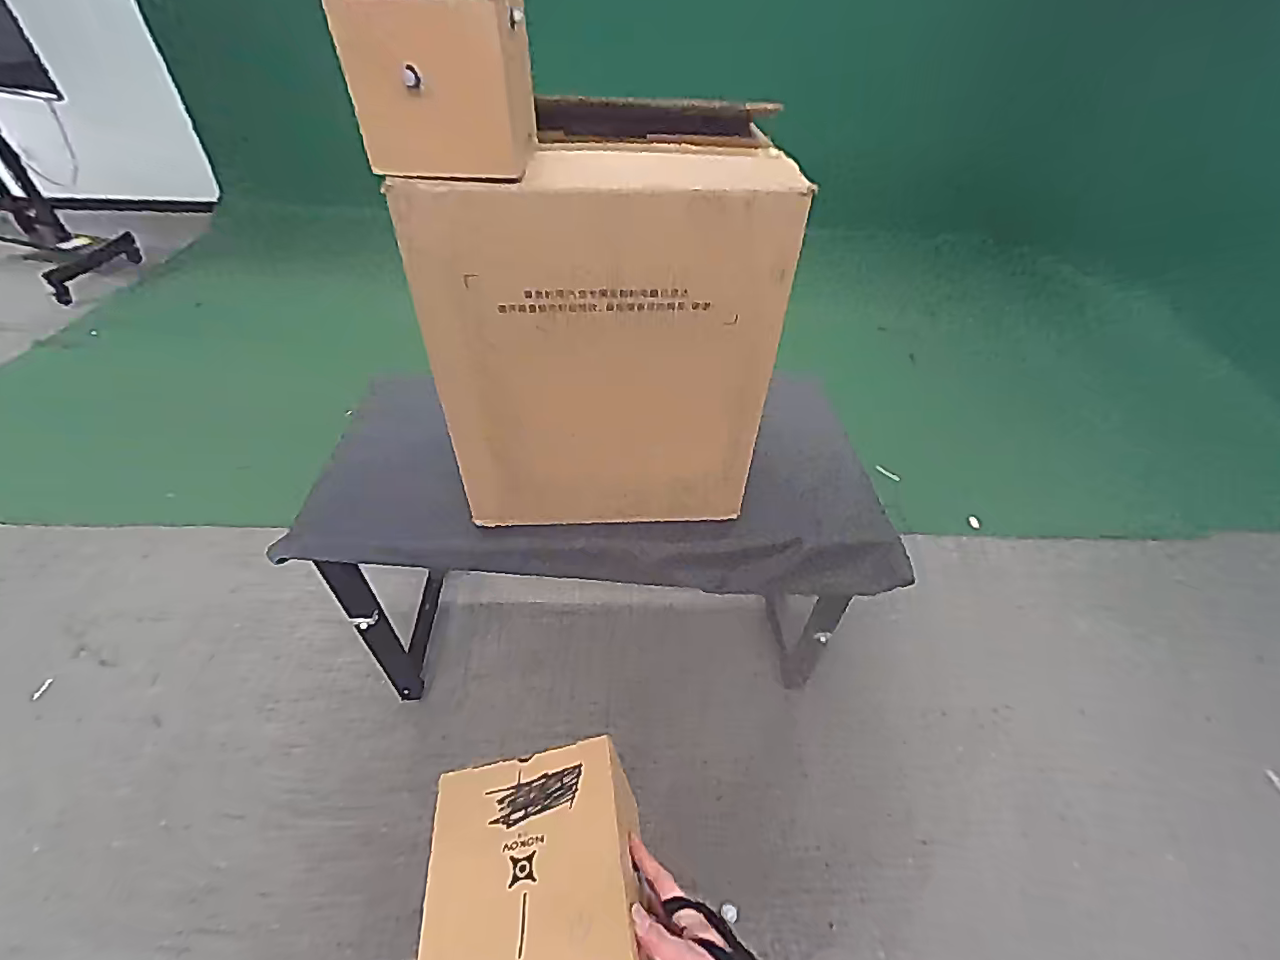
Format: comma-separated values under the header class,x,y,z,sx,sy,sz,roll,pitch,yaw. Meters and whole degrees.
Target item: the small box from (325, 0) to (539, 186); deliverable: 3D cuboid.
class,x,y,z,sx,sy,sz,roll,pitch,yaw
small box,-0.229,-0.468,0.650,0.179,0.176,0.168,1,45,0
